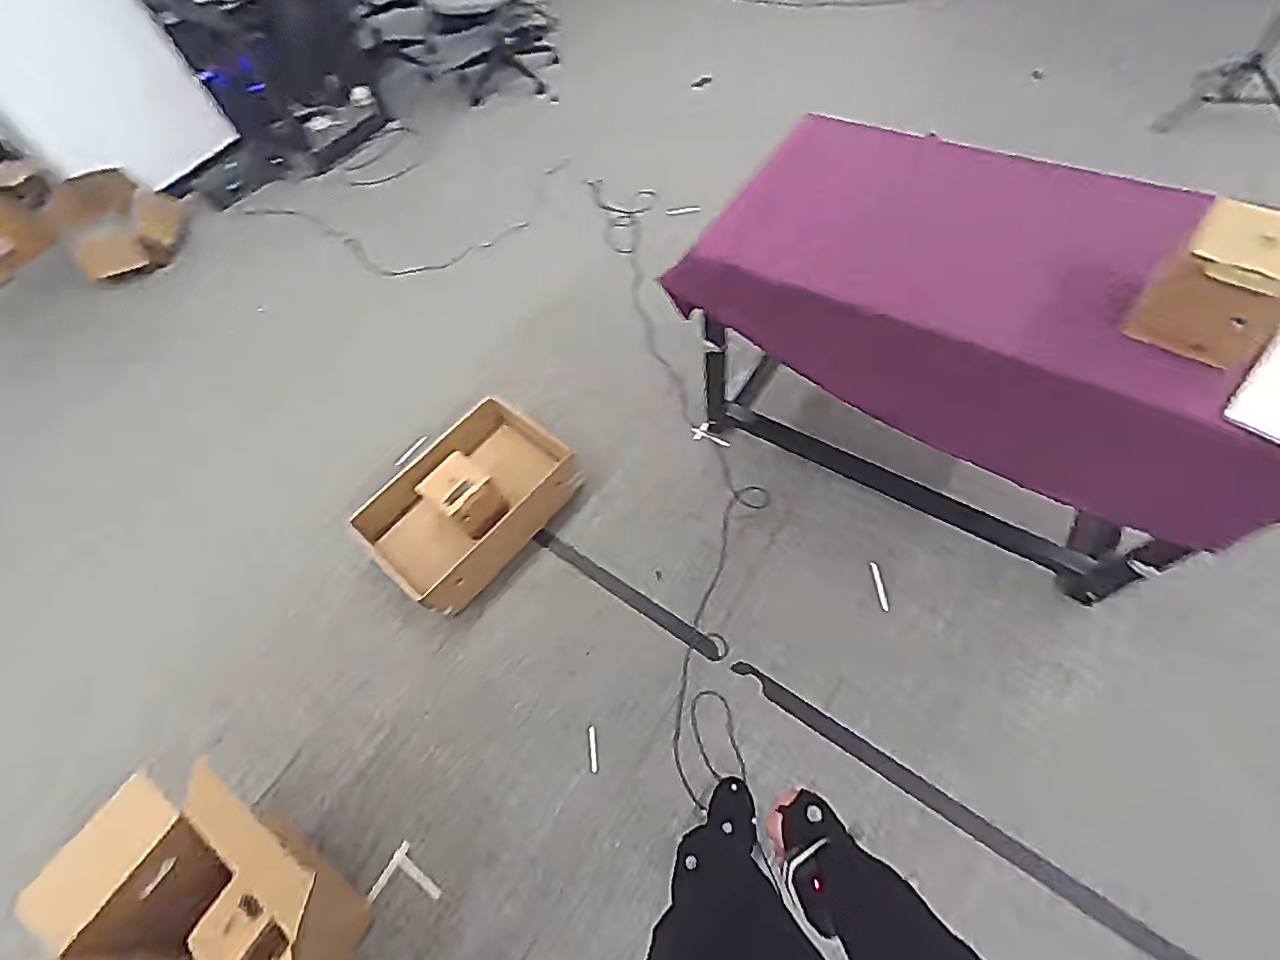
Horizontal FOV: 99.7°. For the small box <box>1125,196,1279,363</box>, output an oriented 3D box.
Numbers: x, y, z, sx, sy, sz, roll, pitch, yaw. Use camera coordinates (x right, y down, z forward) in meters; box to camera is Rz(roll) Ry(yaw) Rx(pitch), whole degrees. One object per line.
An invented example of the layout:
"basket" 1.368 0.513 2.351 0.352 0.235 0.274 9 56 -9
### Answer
"small box" 0.968 -0.327 0.900 0.168 0.176 0.179 34 69 24
